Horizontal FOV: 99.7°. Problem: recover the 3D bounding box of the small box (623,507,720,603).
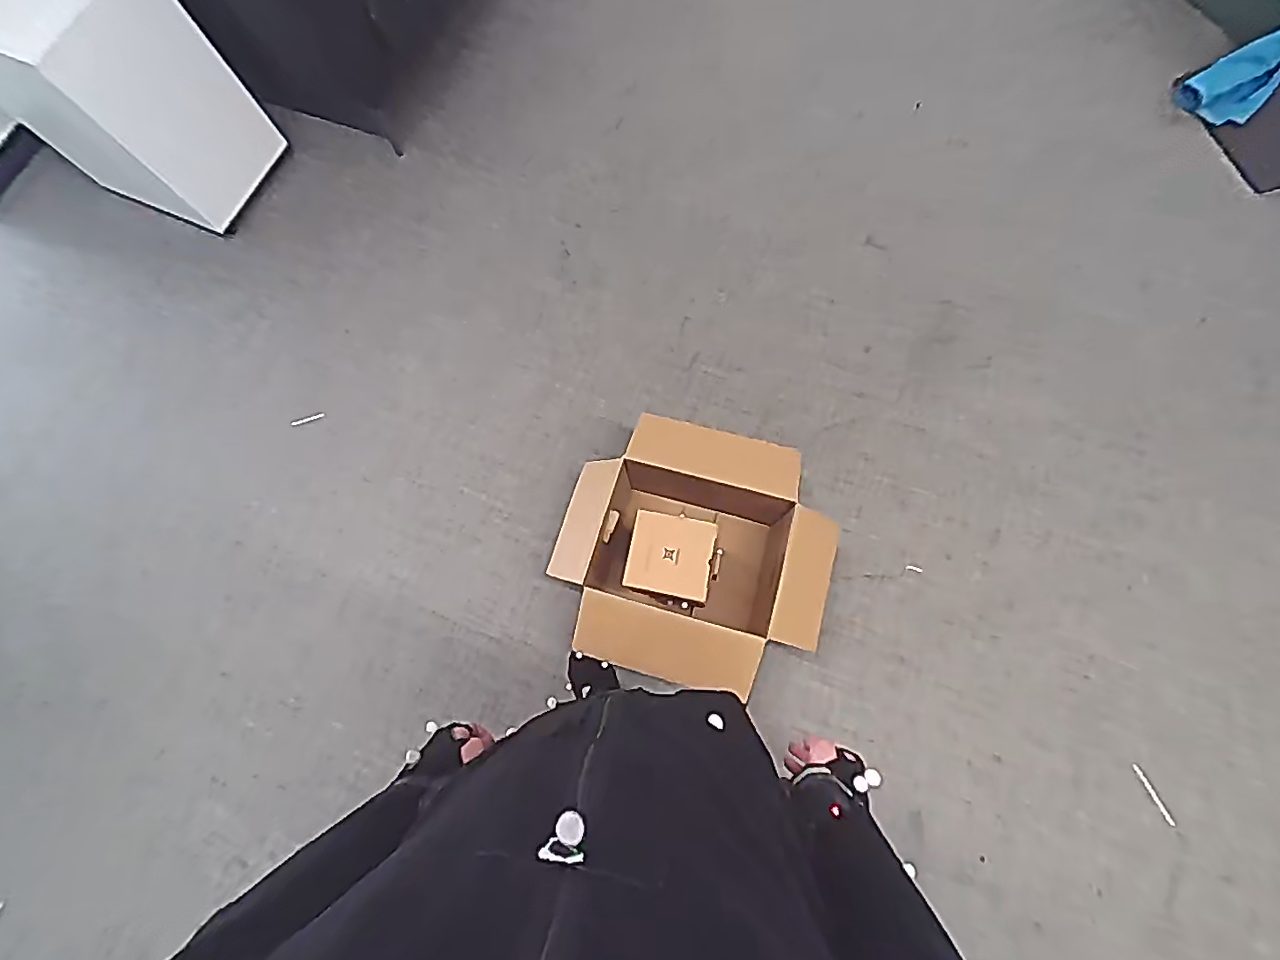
[{"bbox_3d":[0.076,0.171,1.196,0.179,0.176,0.168,10,73,11],"label":"small box"}]
